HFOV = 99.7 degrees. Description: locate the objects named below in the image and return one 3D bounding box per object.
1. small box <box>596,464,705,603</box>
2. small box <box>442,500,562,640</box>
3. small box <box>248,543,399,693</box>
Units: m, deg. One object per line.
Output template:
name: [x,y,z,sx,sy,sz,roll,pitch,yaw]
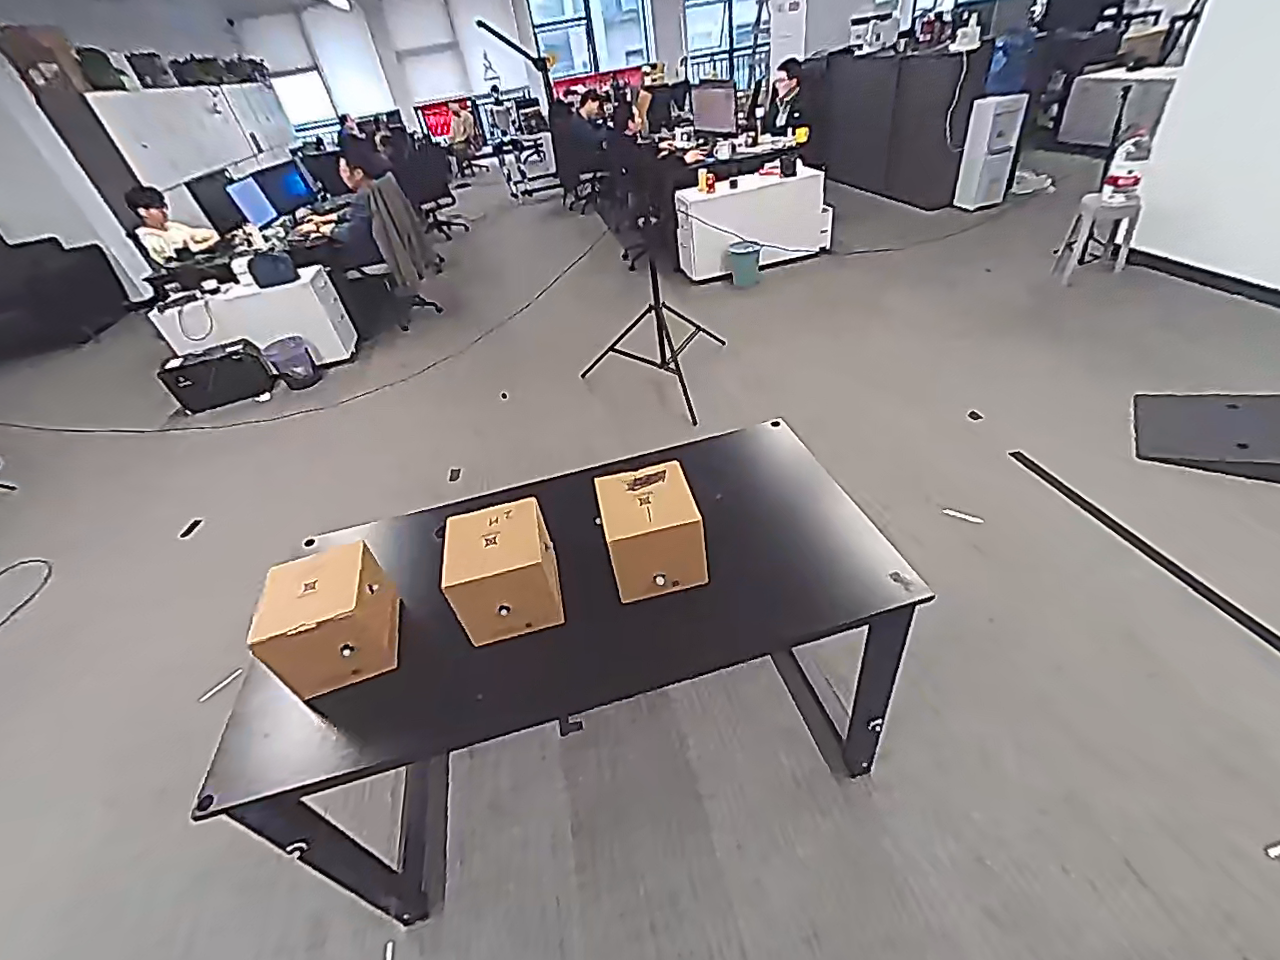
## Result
small box: [0.020,0.100,1.012,0.168,0.176,0.179,-13,39,-3]
small box: [-0.245,0.169,0.984,0.168,0.176,0.179,-14,38,-5]
small box: [-0.541,0.248,0.954,0.168,0.176,0.179,-17,38,-10]
